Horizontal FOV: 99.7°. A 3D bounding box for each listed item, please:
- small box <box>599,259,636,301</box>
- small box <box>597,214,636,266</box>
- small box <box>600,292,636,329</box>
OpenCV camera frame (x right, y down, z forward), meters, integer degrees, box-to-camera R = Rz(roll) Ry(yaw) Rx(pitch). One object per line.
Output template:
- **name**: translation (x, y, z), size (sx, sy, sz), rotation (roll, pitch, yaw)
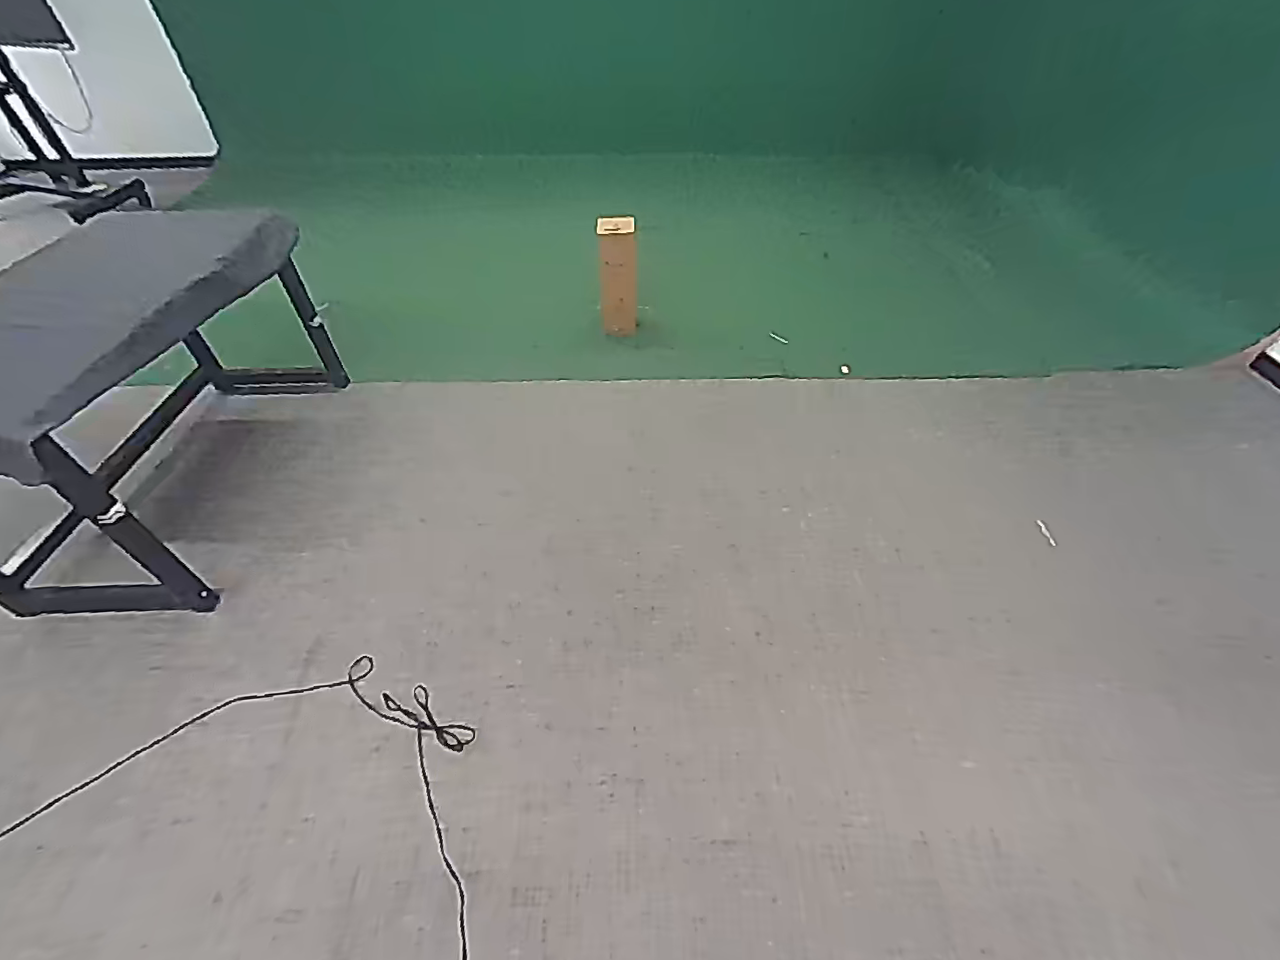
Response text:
- **small box**: translation (-0.104, -0.969, 2.570), size (0.168, 0.176, 0.179), rotation (0, 45, 1)
- **small box**: translation (-0.105, -1.085, 2.452), size (0.168, 0.176, 0.179), rotation (-1, 45, 0)
- **small box**: translation (-0.106, -0.868, 2.674), size (0.168, 0.176, 0.179), rotation (0, 47, 3)
